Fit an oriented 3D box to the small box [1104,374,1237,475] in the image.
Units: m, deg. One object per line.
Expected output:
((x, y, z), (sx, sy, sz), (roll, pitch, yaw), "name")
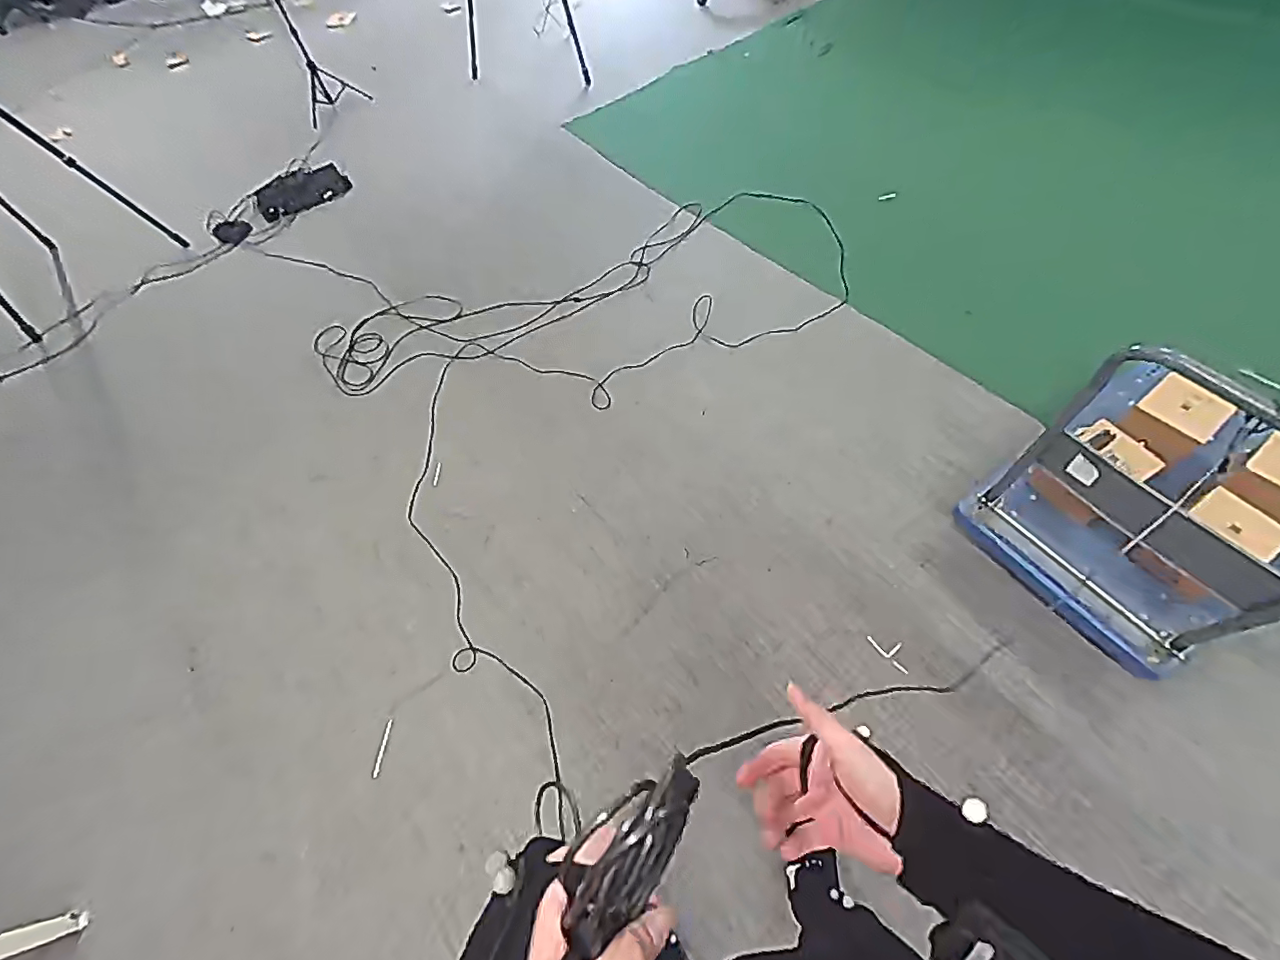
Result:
((1.418, -0.146, 1.462), (0.179, 0.176, 0.168), (-36, 62, -14), "small box")

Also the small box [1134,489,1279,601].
((1.352, 0.158, 1.288), (0.179, 0.176, 0.168), (-32, 60, -11), "small box")

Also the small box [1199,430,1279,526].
((1.573, 0.014, 1.345), (0.179, 0.176, 0.168), (-36, 60, -13), "small box")
